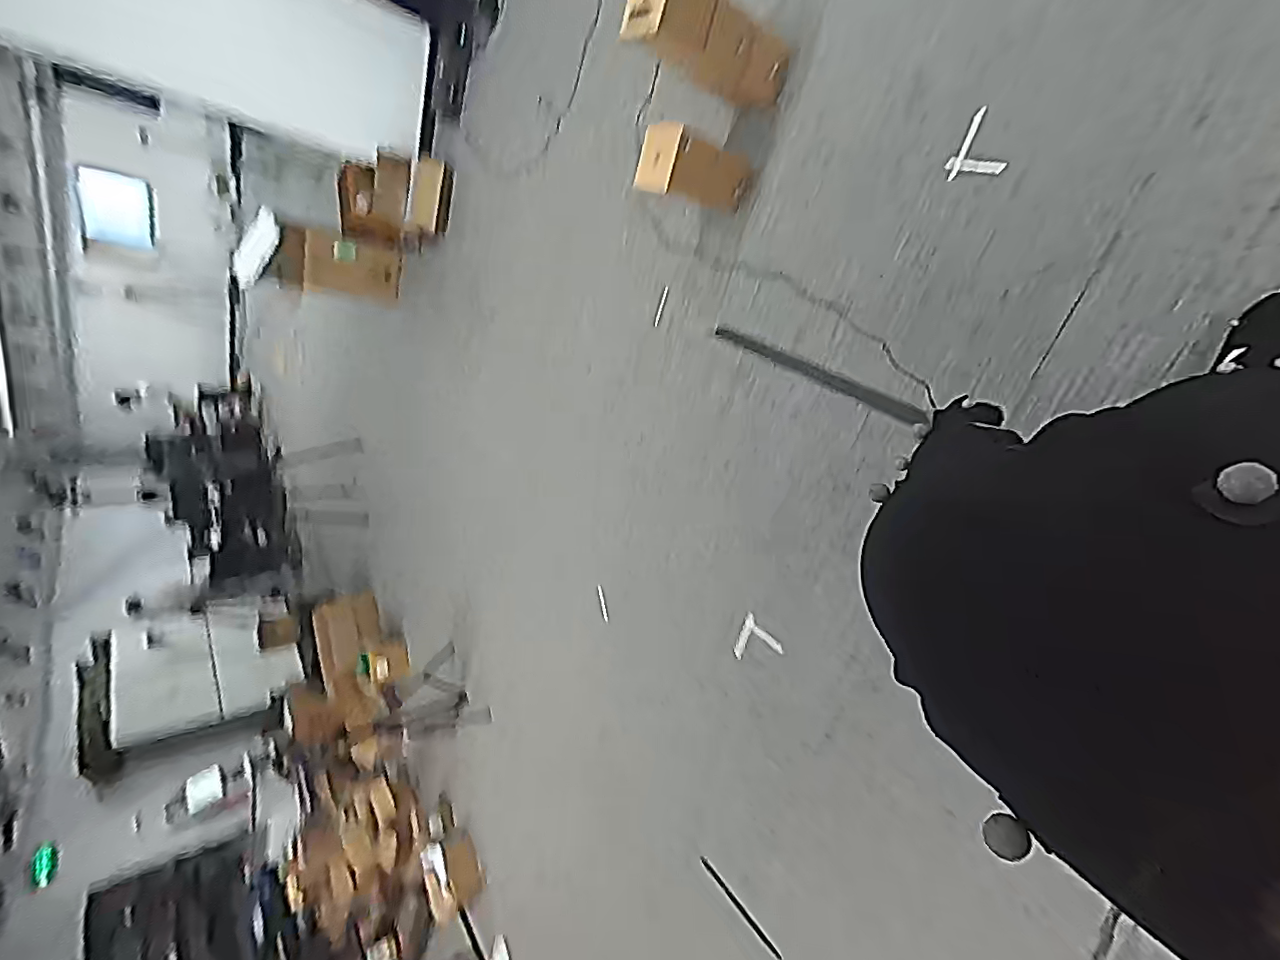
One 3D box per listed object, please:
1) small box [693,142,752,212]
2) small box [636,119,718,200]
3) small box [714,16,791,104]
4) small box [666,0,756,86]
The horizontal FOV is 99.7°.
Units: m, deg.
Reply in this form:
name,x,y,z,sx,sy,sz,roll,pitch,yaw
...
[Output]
name,x,y,z,sx,sy,sz,roll,pitch,yaw
small box,0.239,-1.015,1.802,0.179,0.176,0.168,40,121,37
small box,0.118,-1.000,1.694,0.168,0.176,0.179,36,118,40
small box,0.334,-1.296,1.680,0.179,0.176,0.168,36,118,39
small box,0.211,-1.284,1.571,0.168,0.176,0.179,36,117,40
